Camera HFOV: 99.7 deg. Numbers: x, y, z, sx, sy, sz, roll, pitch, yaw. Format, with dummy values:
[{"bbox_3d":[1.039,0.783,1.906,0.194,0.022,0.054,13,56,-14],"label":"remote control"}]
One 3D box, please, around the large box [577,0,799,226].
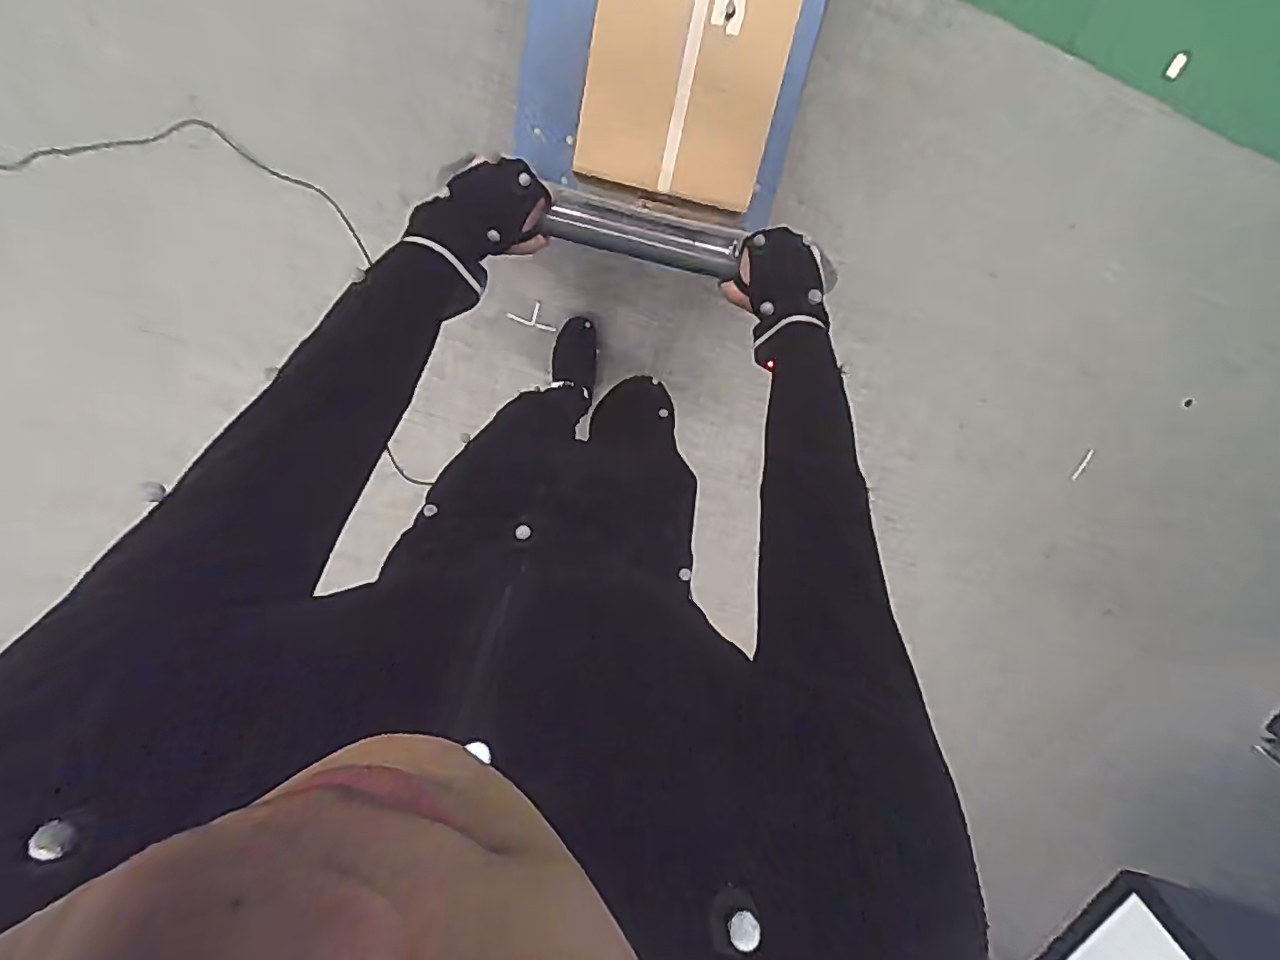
[{"bbox_3d":[0.075,-0.732,1.012,0.320,0.320,0.408,10,110,-7],"label":"large box"}]
